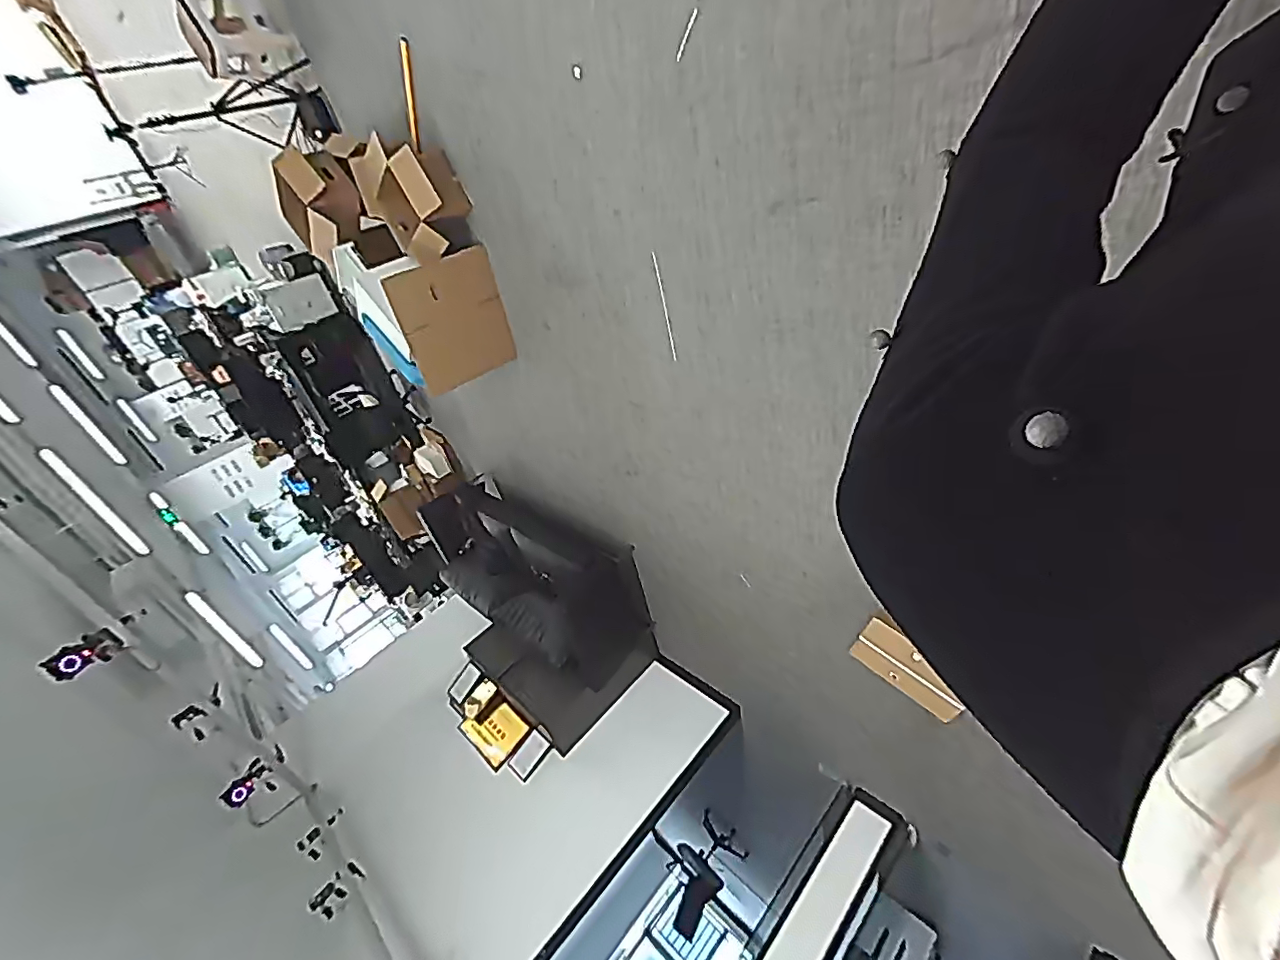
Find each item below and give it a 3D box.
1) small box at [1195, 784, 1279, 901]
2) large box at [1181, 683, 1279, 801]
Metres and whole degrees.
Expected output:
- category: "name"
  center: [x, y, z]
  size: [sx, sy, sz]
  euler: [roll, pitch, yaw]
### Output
- category: "small box"
  center: [1.500, 0.871, 1.300]
  size: [0.168, 0.176, 0.179]
  euler: [56, 149, -6]
- category: "large box"
  center: [1.721, 0.752, 1.367]
  size: [0.320, 0.320, 0.408]
  euler: [55, 149, -7]
